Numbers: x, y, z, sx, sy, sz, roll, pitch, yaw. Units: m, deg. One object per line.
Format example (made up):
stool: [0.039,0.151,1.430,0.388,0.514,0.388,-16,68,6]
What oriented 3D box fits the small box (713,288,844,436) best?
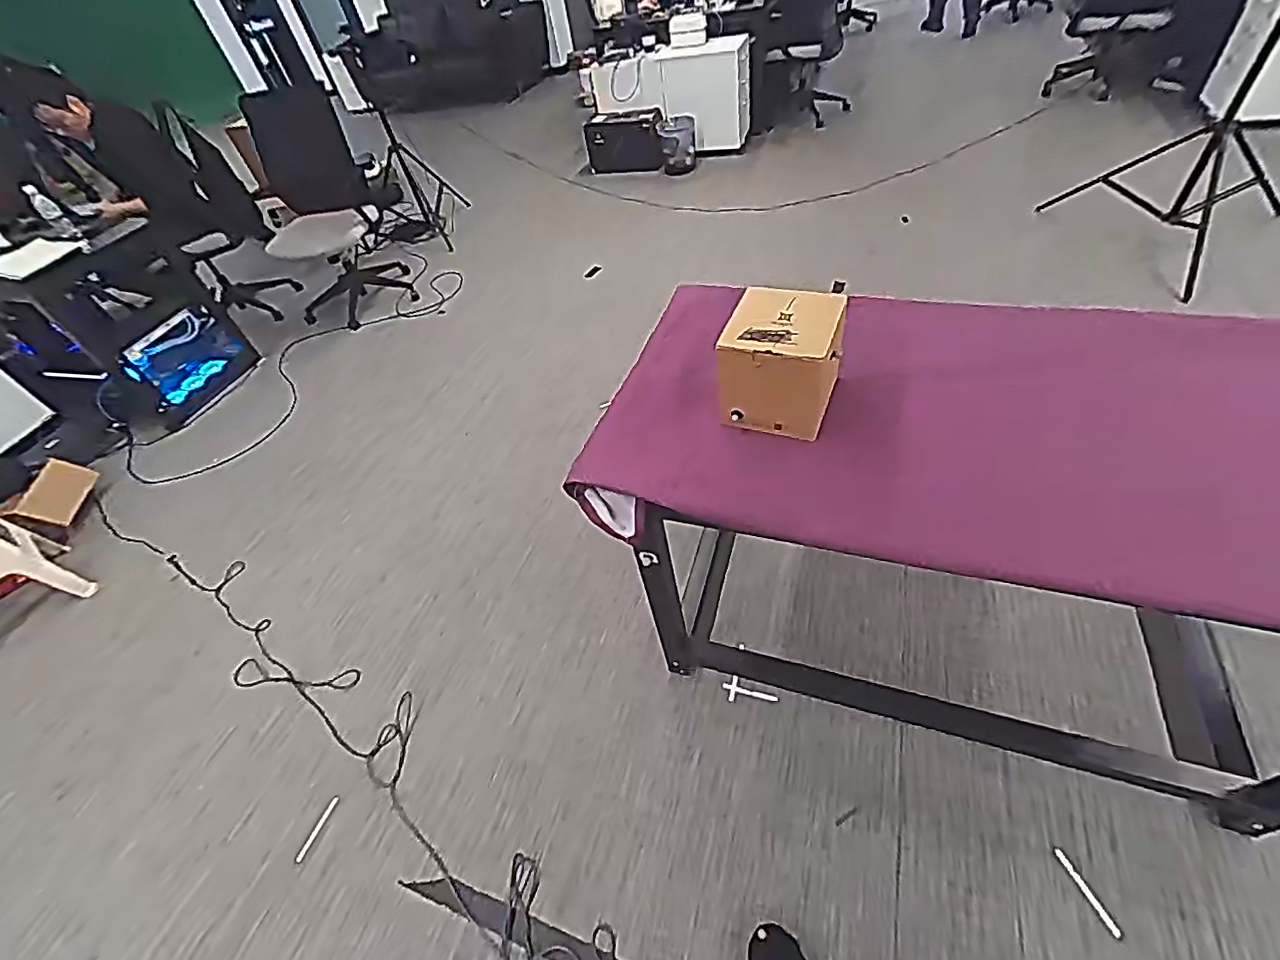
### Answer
small box: [0.233,-0.197,0.909,0.168,0.176,0.179,14,53,22]
